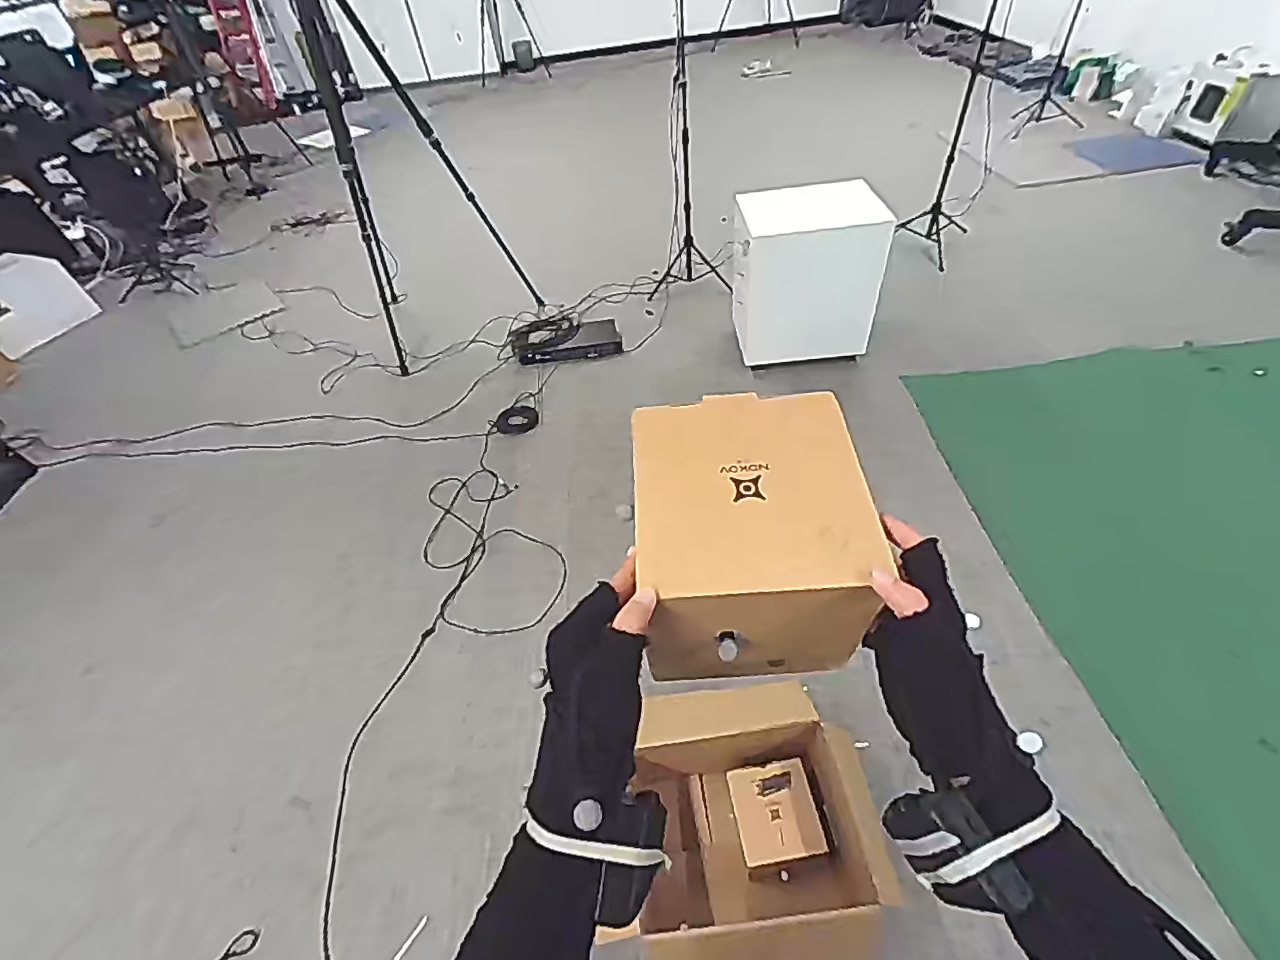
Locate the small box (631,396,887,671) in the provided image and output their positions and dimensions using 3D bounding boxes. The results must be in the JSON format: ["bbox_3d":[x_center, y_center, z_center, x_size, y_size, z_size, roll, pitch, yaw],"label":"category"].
[{"bbox_3d":[0.084,0.054,0.462,0.168,0.176,0.179,-5,53,2],"label":"small box"}]
